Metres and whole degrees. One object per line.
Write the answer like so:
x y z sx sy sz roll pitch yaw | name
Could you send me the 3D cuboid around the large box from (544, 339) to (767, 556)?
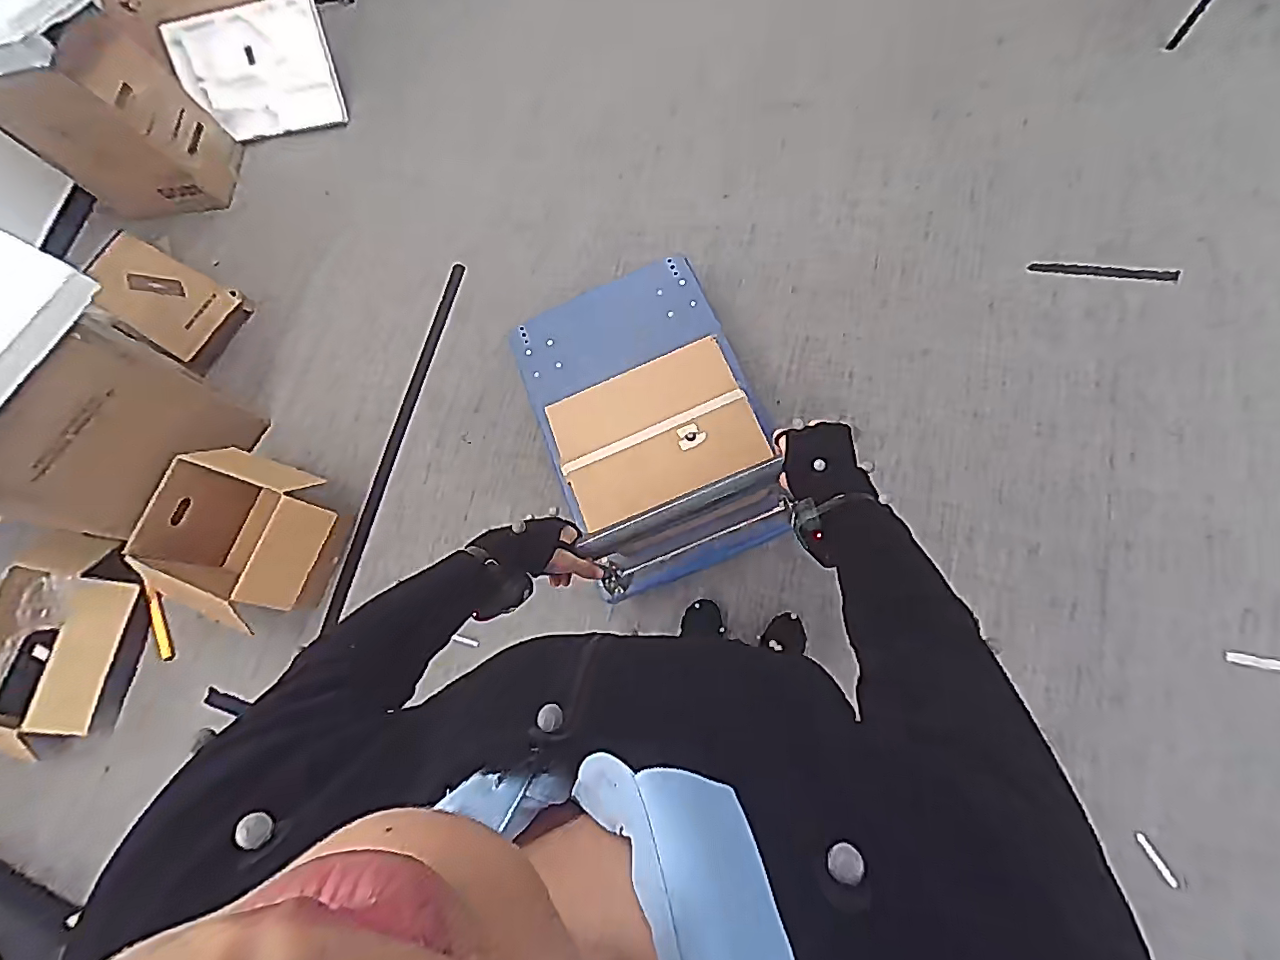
0.043 -0.054 1.275 0.408 0.320 0.320 -23 73 2 | large box
